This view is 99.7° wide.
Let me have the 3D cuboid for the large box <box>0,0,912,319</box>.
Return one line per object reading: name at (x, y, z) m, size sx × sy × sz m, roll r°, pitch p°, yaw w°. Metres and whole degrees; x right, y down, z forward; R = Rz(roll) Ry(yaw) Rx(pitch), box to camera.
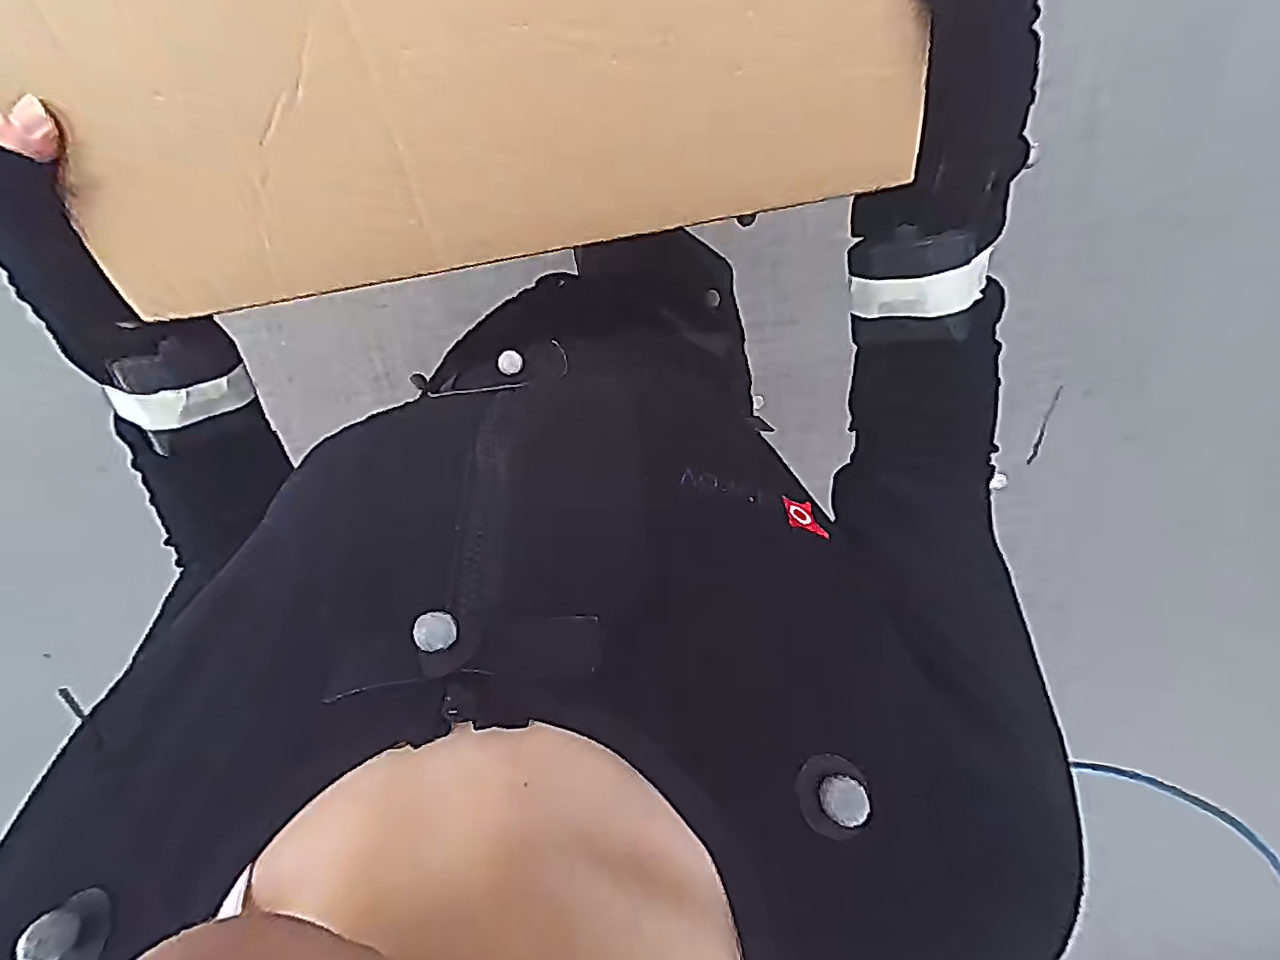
large box at (-0.096, -0.330, 0.317) m, size 0.408 × 0.320 × 0.320 m, roll -9°, pitch 125°, yaw 4°
